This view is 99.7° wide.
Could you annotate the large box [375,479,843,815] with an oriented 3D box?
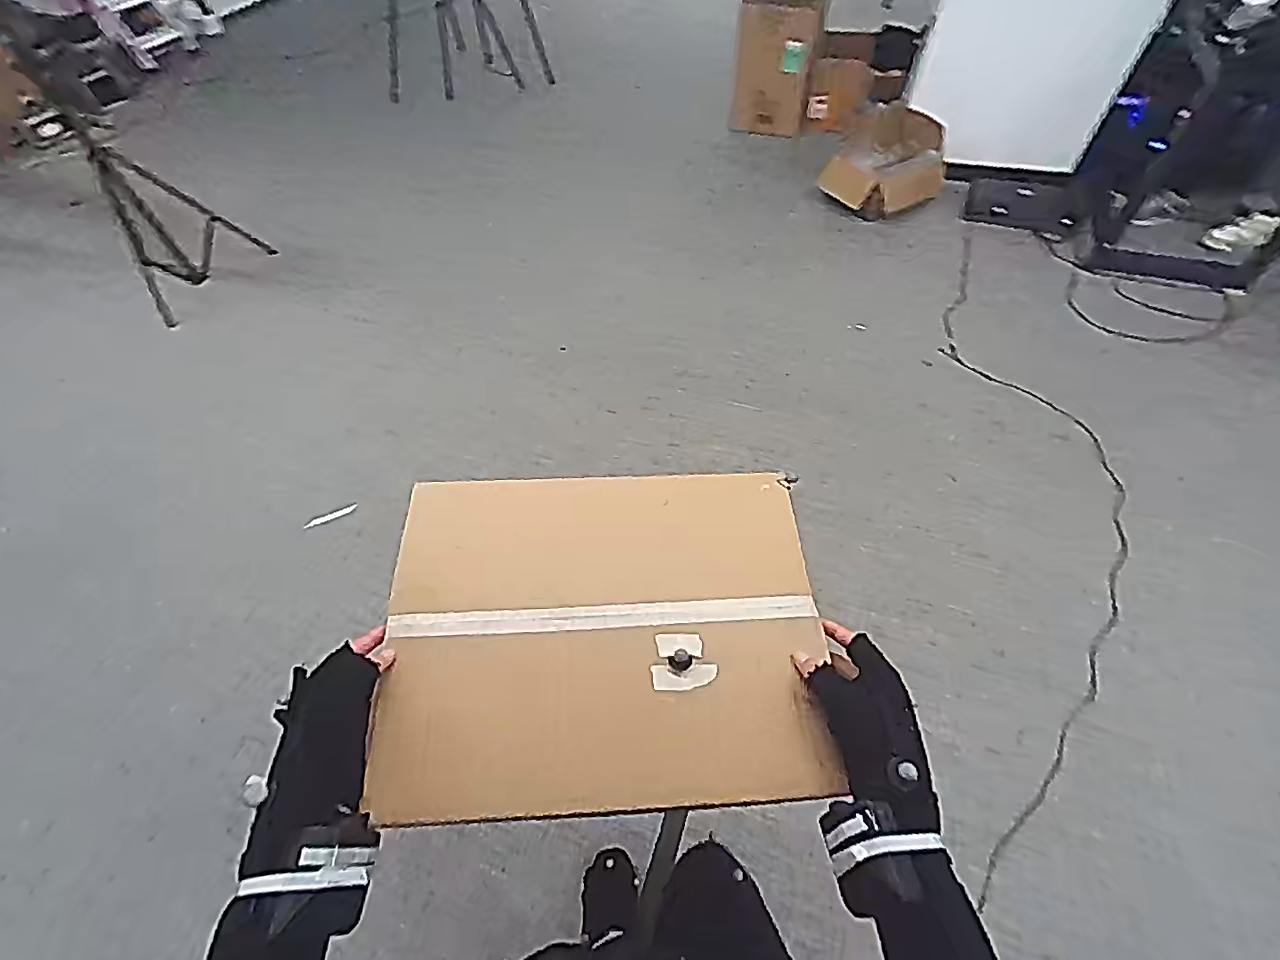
[{"bbox_3d":[-0.035,0.212,0.655,0.408,0.320,0.320,-1,58,-3],"label":"large box"}]
